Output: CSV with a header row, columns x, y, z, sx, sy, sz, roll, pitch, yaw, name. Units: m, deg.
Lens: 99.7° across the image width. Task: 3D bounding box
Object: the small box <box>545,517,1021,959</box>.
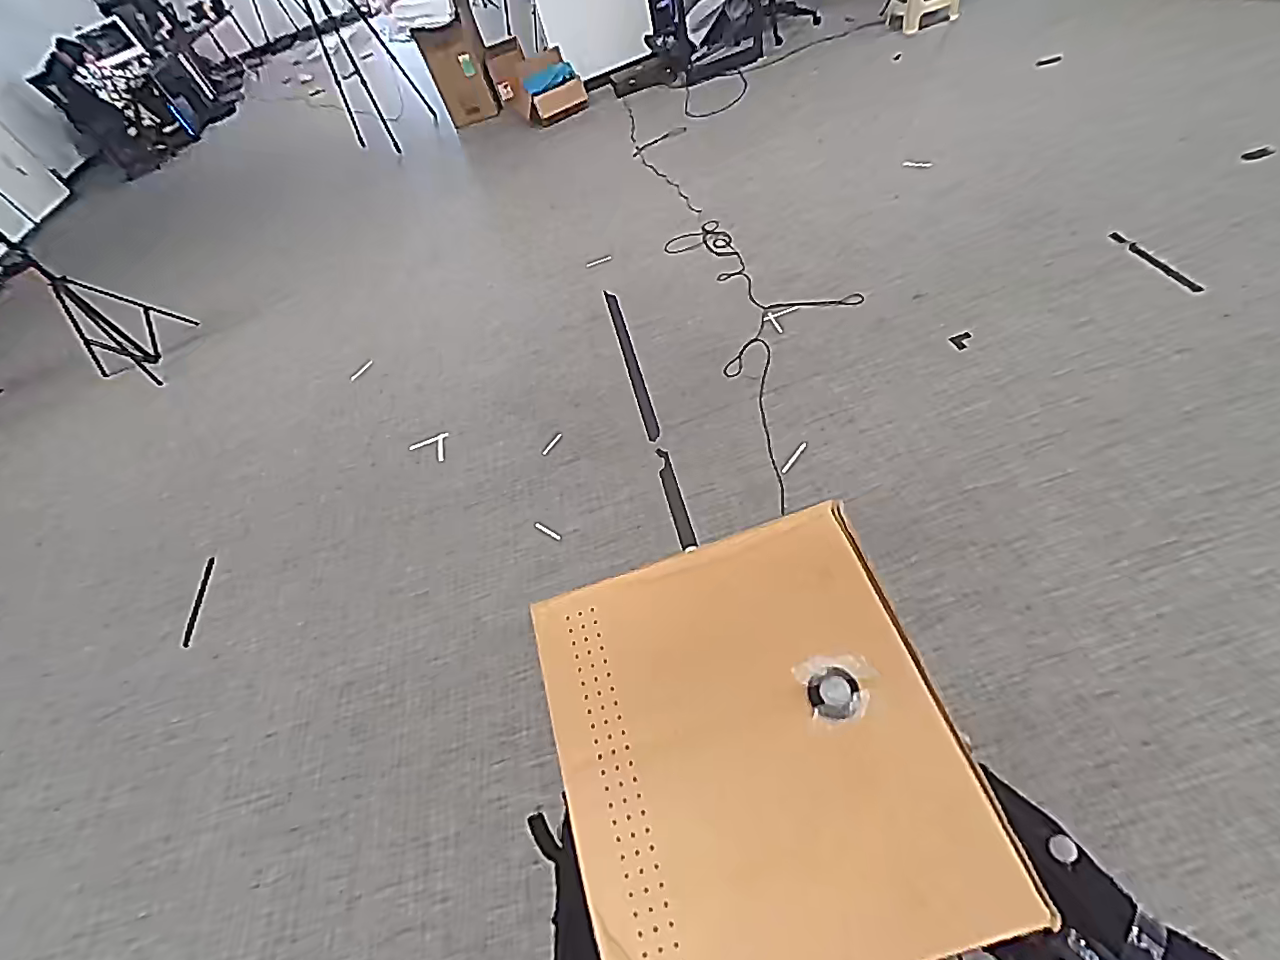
x,y,z,sx,sy,sz,roll,pitch,yaw,name
0.057,0.152,0.314,0.176,0.168,0.179,-20,62,3,small box
